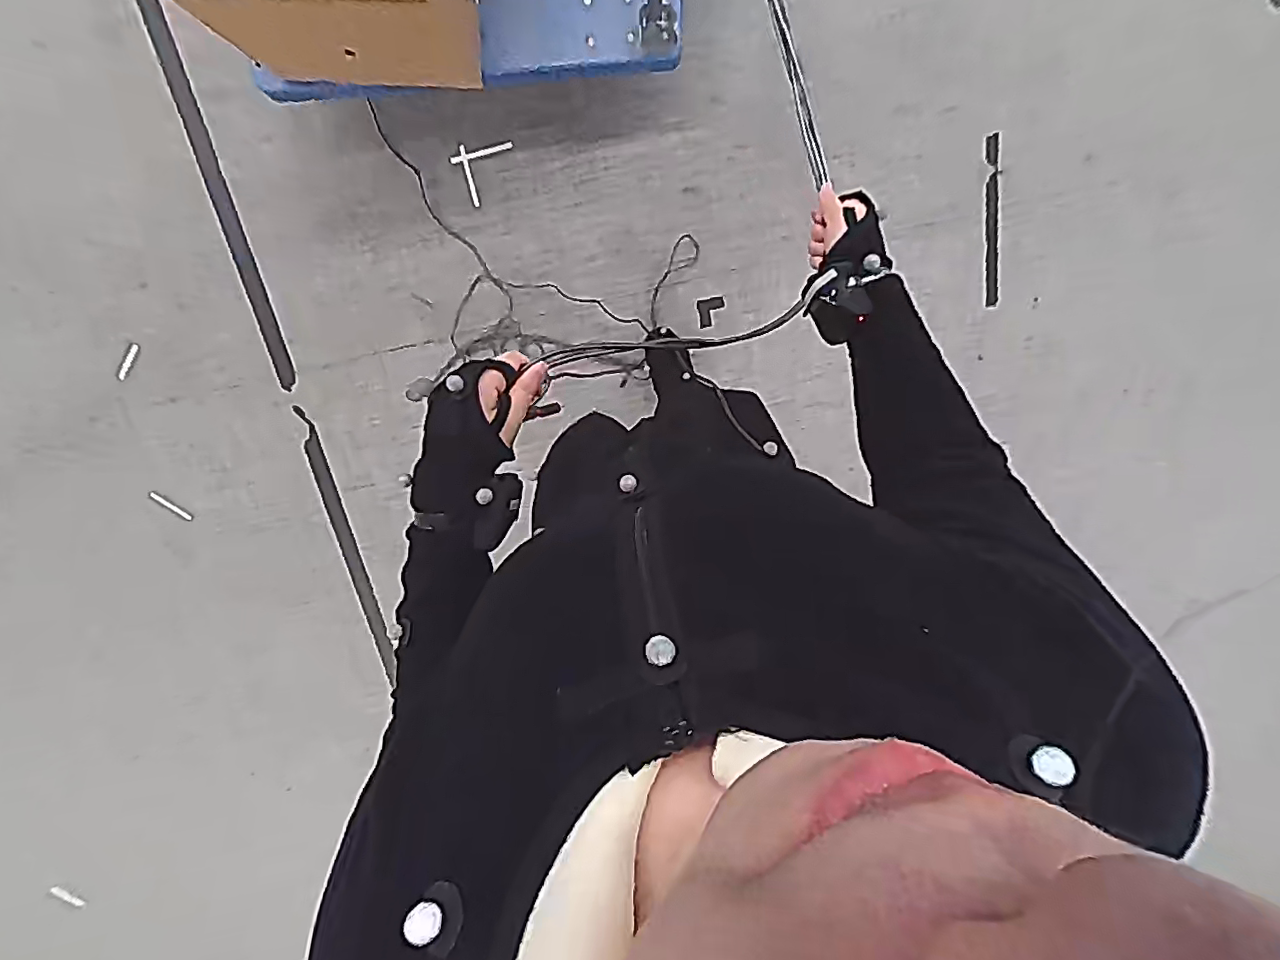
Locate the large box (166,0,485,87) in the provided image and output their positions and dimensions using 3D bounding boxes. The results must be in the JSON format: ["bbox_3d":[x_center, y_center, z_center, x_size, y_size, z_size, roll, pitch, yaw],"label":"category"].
[{"bbox_3d":[-0.507,-0.896,0.905,0.408,0.320,0.320,0,104,-1],"label":"large box"}]
